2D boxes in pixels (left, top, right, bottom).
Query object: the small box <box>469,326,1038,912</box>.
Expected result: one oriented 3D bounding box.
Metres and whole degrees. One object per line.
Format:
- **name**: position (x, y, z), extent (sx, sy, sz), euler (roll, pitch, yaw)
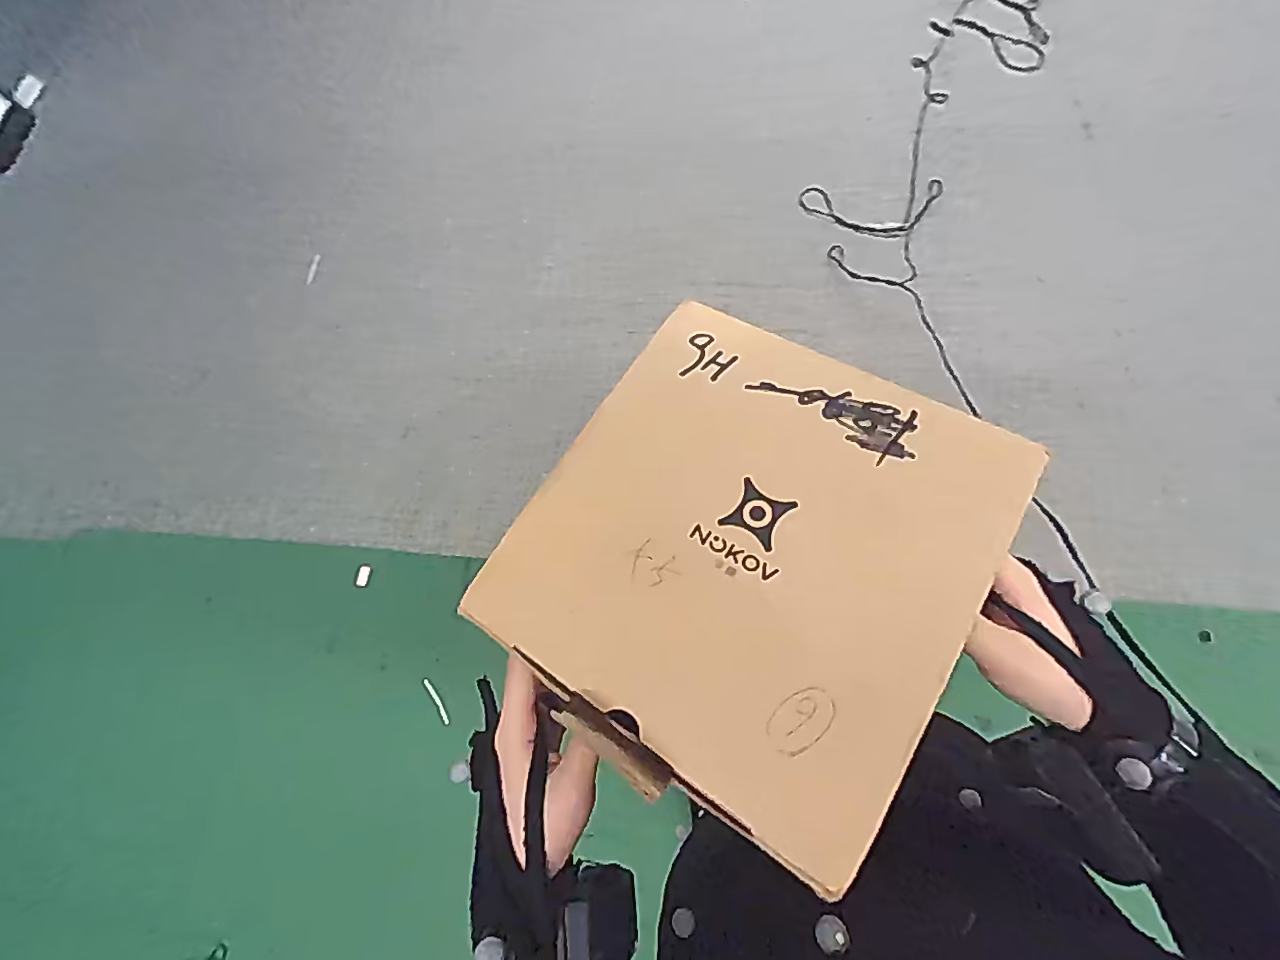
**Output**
- **small box**: position (0.054, 0.061, 0.287), extent (0.168, 0.176, 0.179), euler (30, 76, 20)
